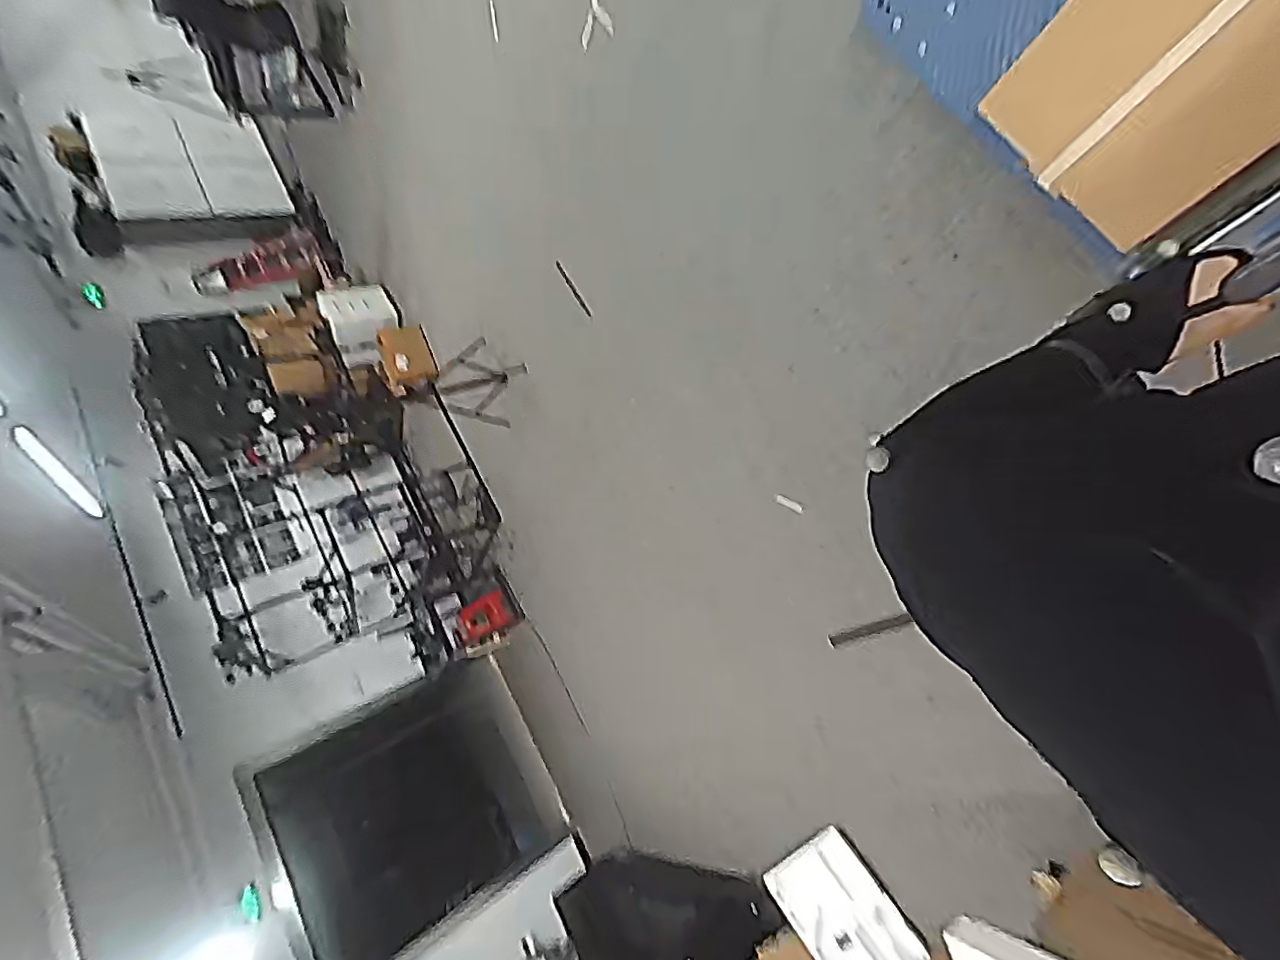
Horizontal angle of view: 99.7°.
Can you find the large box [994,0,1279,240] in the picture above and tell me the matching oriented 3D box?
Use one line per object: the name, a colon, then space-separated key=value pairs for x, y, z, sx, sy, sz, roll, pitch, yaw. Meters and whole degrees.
large box: x=0.793 y=-0.589 z=0.702 sx=0.320 sy=0.320 sz=0.408 roll=57 pitch=145 yaw=13
